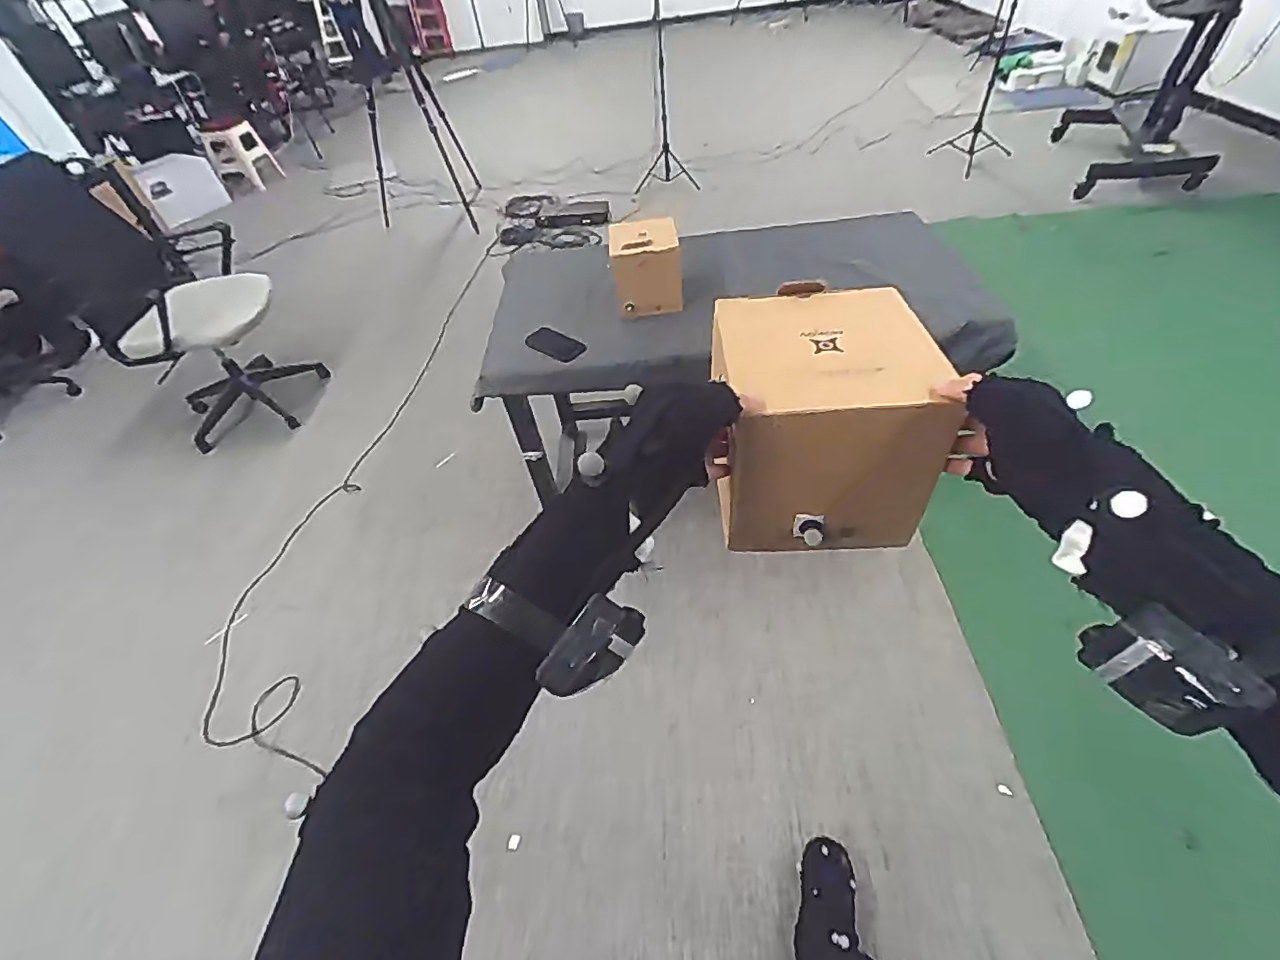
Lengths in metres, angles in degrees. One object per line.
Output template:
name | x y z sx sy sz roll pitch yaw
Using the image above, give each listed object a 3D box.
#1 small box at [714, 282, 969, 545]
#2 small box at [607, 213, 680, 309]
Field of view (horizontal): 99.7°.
small box | 0.159 -0.061 0.504 0.168 0.176 0.179 -4 47 3
small box | 0.010 -0.544 1.361 0.168 0.176 0.179 -6 47 2
